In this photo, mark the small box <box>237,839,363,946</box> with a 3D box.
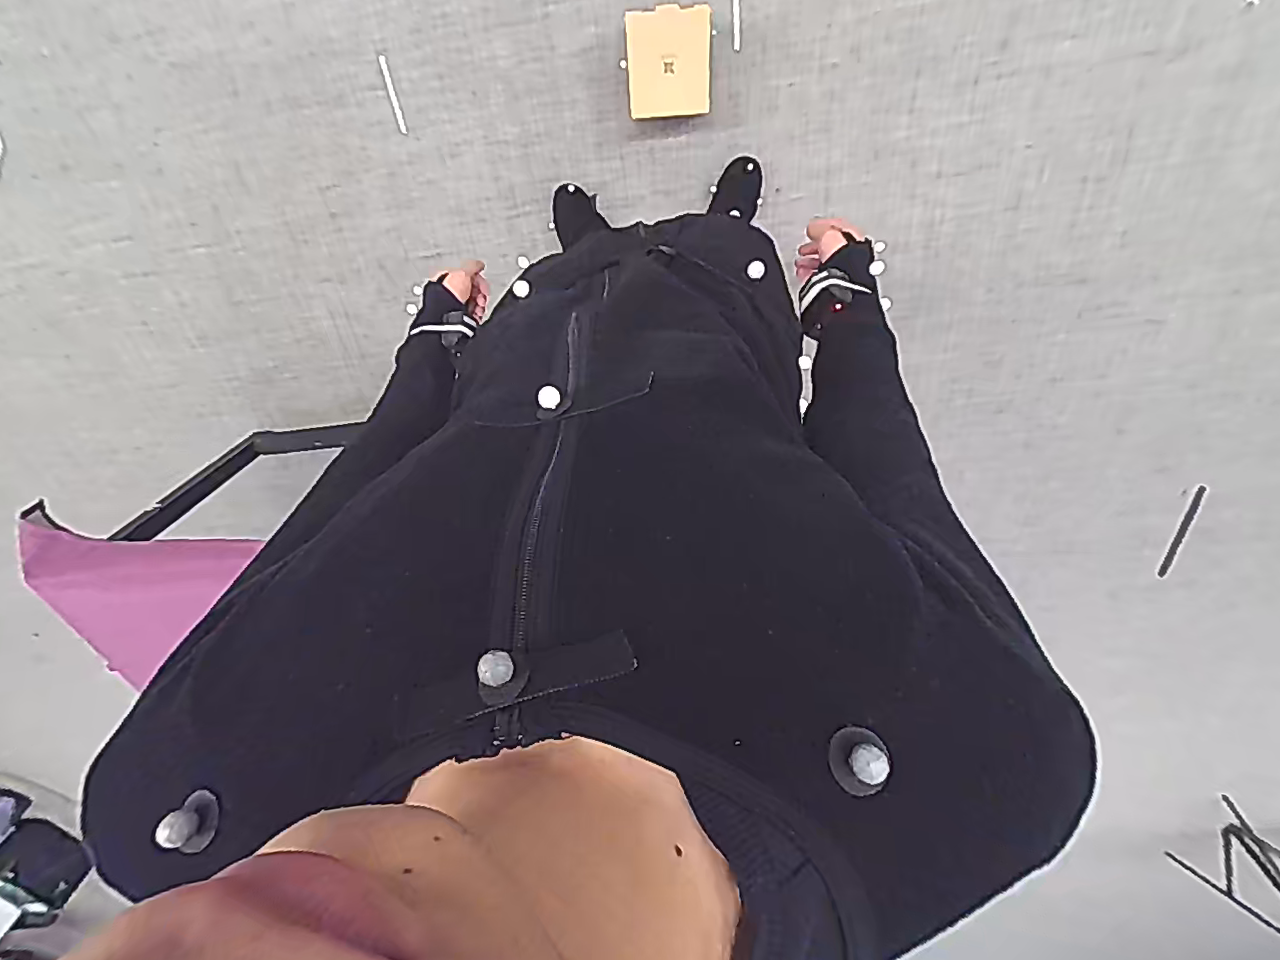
[{"bbox_3d":[-0.852,1.045,1.374,0.179,0.176,0.168,-15,121,12],"label":"small box"}]

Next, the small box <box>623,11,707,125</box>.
[{"bbox_3d":[0.056,-0.872,1.158,0.168,0.176,0.179,-2,122,4],"label":"small box"}]
